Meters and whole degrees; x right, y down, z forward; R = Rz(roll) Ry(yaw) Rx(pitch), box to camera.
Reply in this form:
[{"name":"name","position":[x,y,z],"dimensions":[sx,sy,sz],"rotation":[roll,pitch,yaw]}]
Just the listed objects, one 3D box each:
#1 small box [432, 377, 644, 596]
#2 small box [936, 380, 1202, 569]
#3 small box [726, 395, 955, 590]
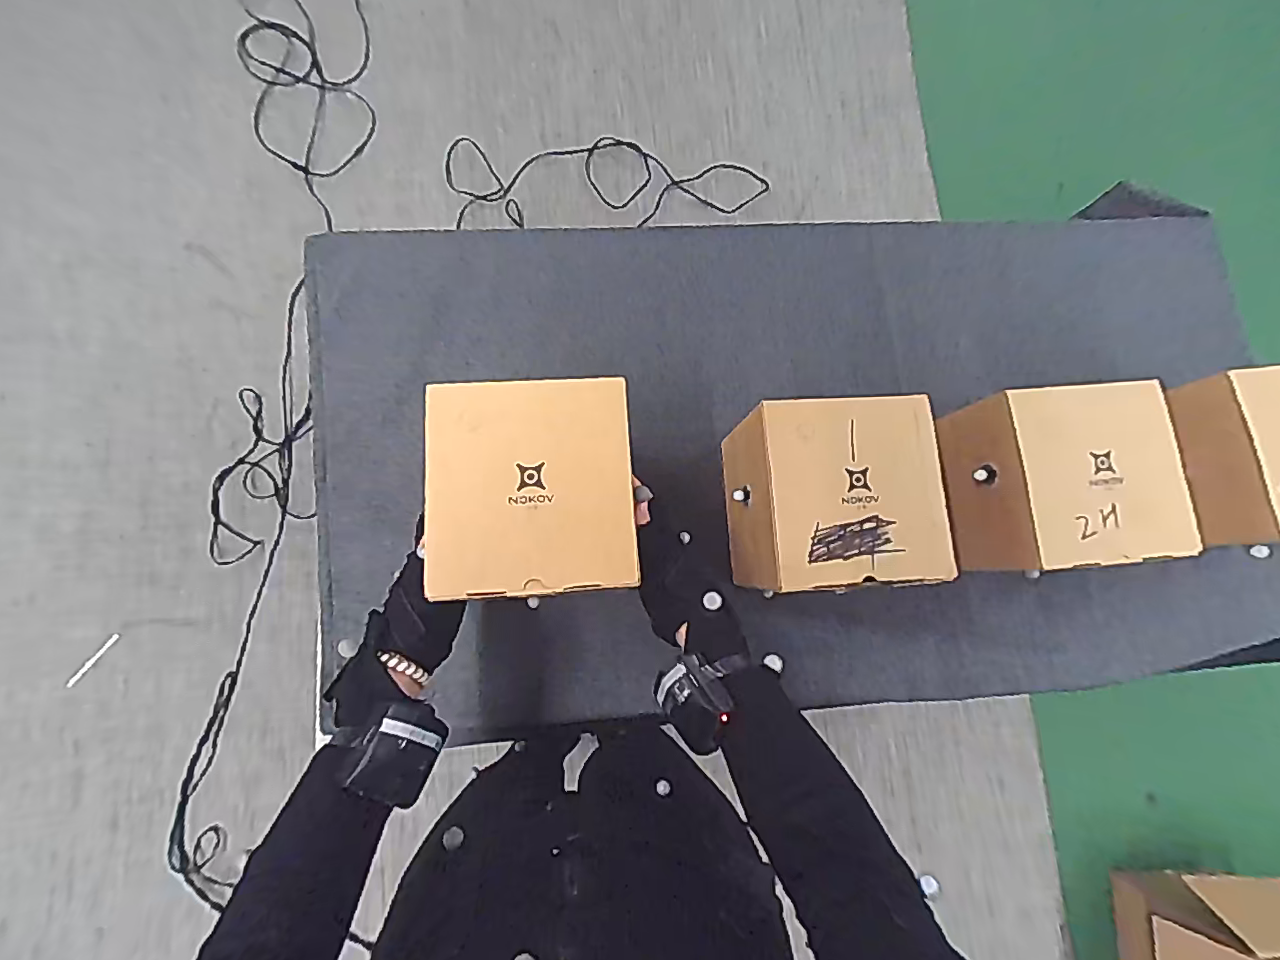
[{"name":"small box","position":[-0.090,0.016,0.513],"dimensions":[0.168,0.176,0.179],"rotation":[-3,79,-6]},{"name":"small box","position":[0.434,0.004,0.593],"dimensions":[0.168,0.176,0.179],"rotation":[-4,81,-5]},{"name":"small box","position":[0.193,0.020,0.572],"dimensions":[0.168,0.176,0.179],"rotation":[-2,80,-5]}]
